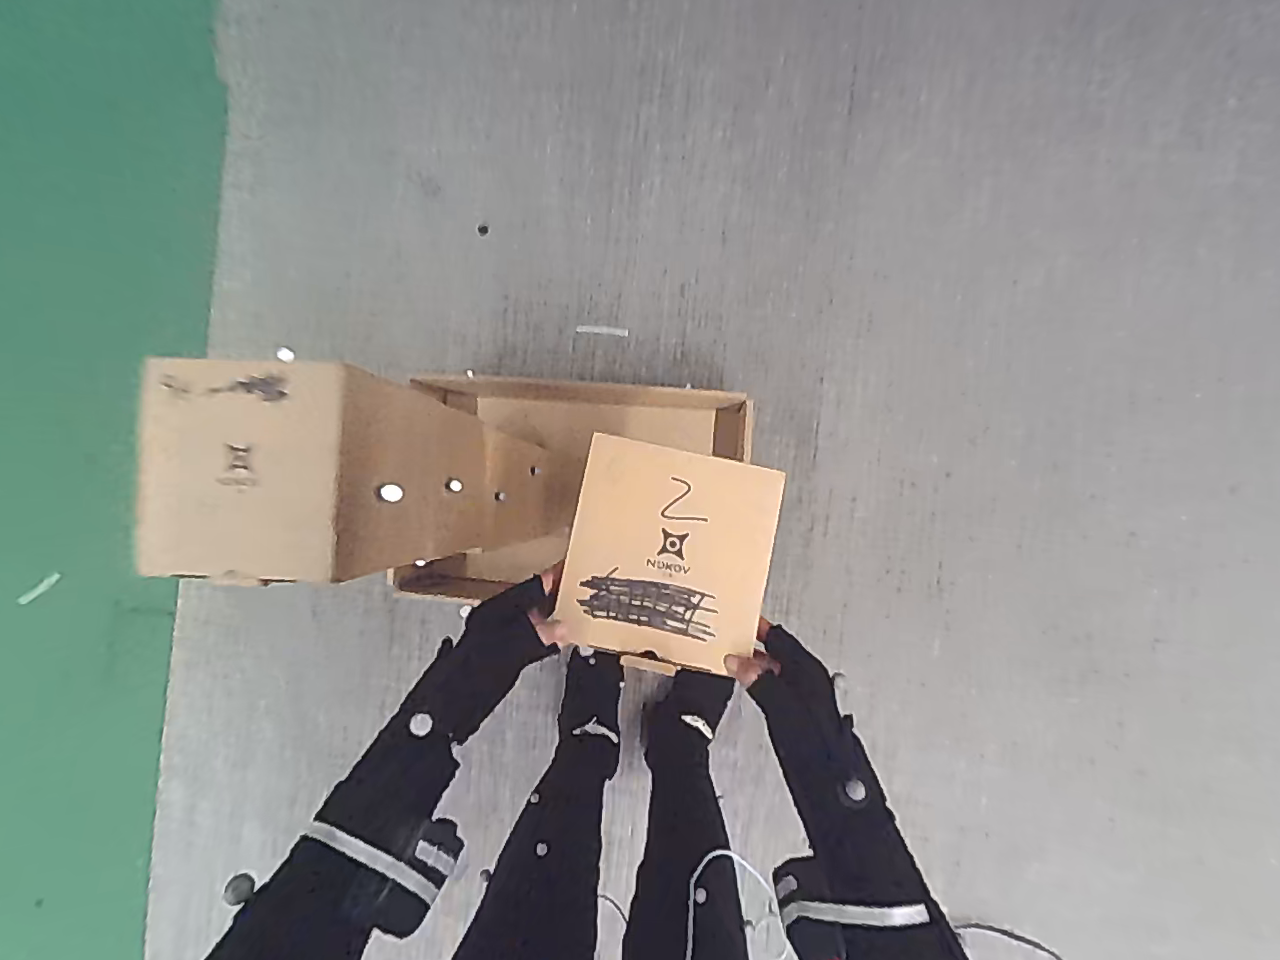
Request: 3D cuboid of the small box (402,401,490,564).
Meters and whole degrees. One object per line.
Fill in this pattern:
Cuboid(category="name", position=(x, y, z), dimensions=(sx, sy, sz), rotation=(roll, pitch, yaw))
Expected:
Cuboid(category="small box", position=(-0.293, 0.000, 0.659), dimensions=(0.168, 0.176, 0.179), rotation=(3, 89, 4))

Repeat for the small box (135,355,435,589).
Cuboid(category="small box", position=(-0.303, -0.007, 0.496), dimensions=(0.168, 0.176, 0.179), rotation=(3, 90, 3))

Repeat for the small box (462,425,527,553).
Cuboid(category="small box", position=(-0.277, 0.009, 0.821), dimensions=(0.168, 0.176, 0.179), rotation=(4, 89, 5))

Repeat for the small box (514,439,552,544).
Cuboid(category="small box", position=(-0.264, 0.014, 0.984), dimensions=(0.168, 0.176, 0.179), rotation=(6, 89, 5))
